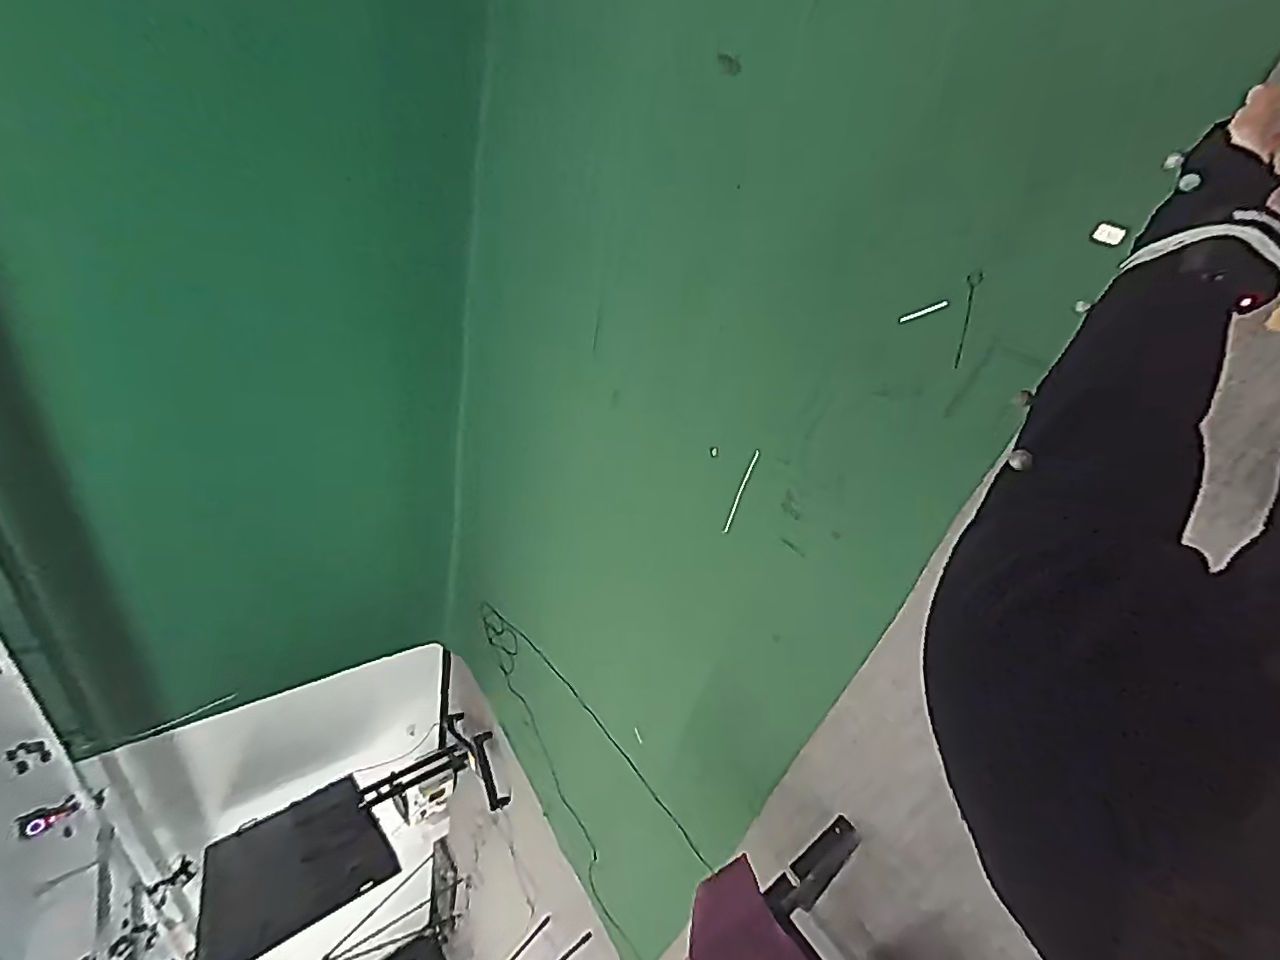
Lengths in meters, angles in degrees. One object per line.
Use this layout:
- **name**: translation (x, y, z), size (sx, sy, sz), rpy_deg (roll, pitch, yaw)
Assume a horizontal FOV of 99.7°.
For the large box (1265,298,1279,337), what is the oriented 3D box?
- **large box**: translation (1.138, -0.326, 0.672), size (0.320, 0.320, 0.408), rpy_deg (42, 129, 39)
